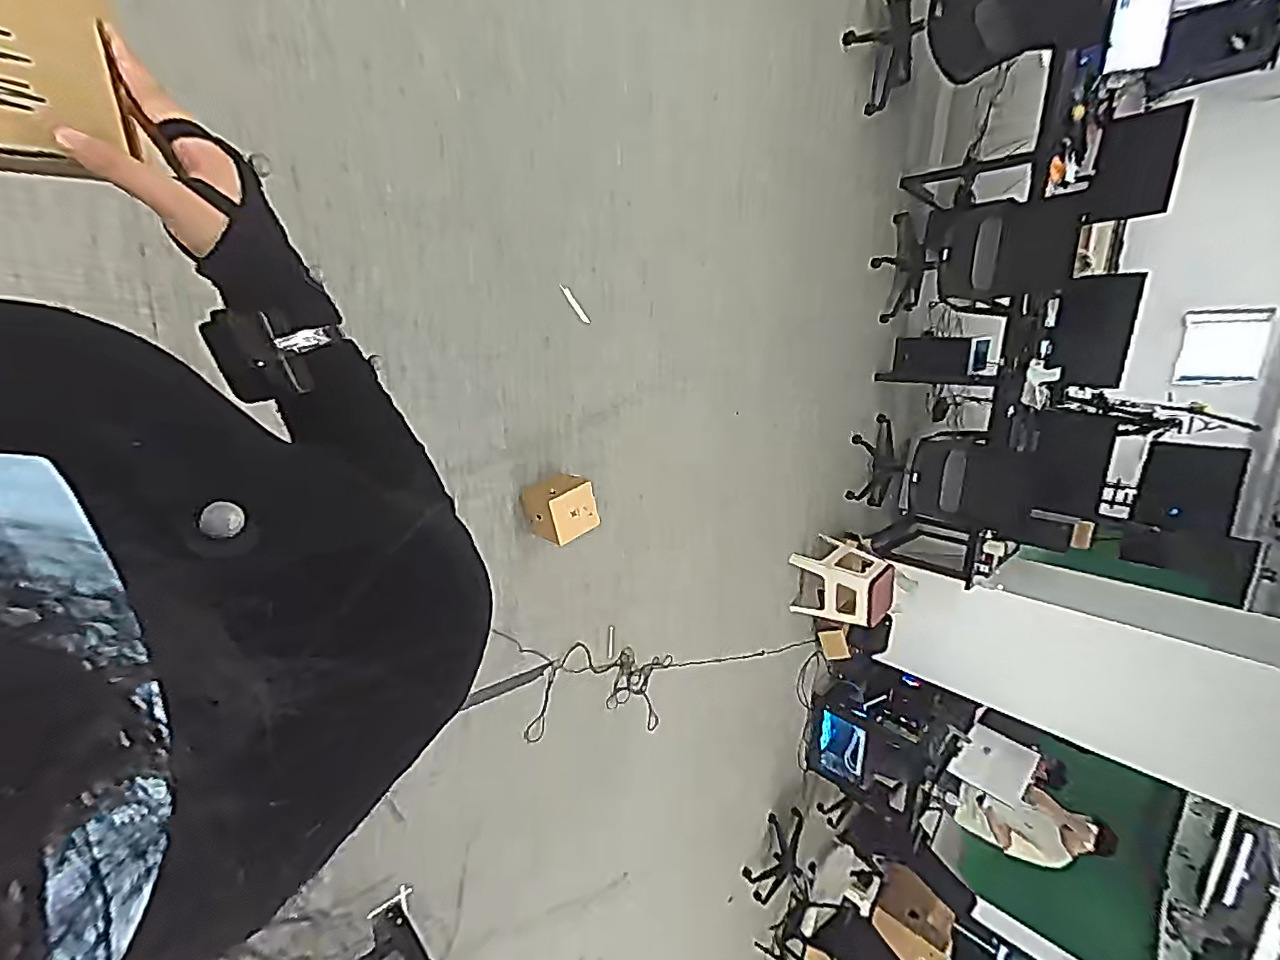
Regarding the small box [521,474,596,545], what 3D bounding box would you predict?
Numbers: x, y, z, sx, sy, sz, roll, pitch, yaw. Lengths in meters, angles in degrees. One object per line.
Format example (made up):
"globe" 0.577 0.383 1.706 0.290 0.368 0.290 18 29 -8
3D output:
"small box" -0.279 0.093 1.814 0.179 0.176 0.168 -29 119 -38
